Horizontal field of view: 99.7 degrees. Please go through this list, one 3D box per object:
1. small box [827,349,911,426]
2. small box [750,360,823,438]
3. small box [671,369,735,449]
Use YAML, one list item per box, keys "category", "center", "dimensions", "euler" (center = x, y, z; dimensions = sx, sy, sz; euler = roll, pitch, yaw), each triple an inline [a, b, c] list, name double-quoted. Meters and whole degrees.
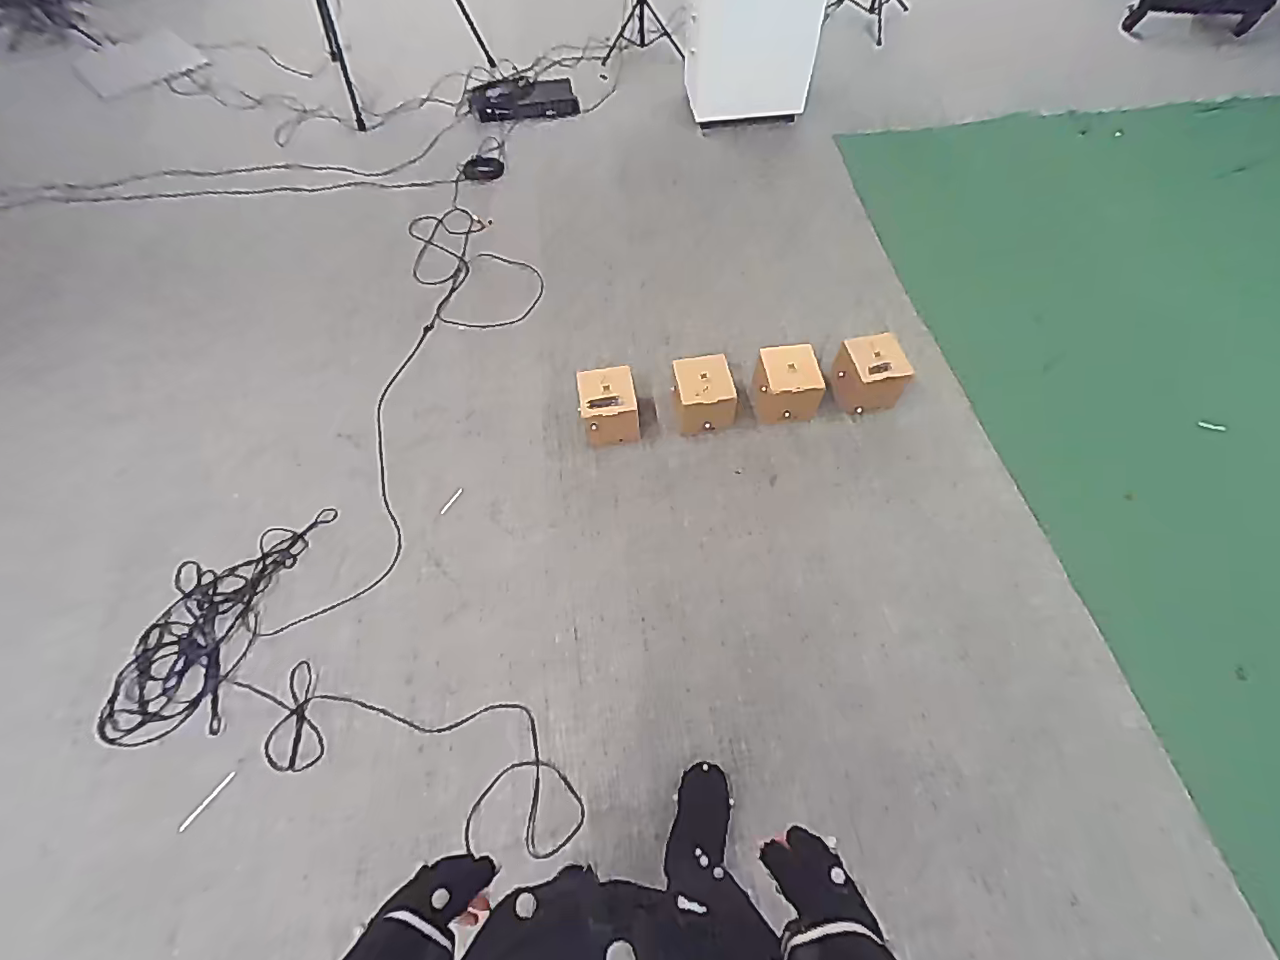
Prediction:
- category: "small box"
  center: [0.722, -0.288, 1.724]
  dimensions: [0.168, 0.176, 0.179]
  euler: [-9, 59, -4]
- category: "small box"
  center: [0.455, -0.254, 1.709]
  dimensions: [0.168, 0.176, 0.179]
  euler: [-6, 60, -3]
- category: "small box"
  center: [0.190, -0.221, 1.690]
  dimensions: [0.168, 0.176, 0.179]
  euler: [-8, 60, -3]
